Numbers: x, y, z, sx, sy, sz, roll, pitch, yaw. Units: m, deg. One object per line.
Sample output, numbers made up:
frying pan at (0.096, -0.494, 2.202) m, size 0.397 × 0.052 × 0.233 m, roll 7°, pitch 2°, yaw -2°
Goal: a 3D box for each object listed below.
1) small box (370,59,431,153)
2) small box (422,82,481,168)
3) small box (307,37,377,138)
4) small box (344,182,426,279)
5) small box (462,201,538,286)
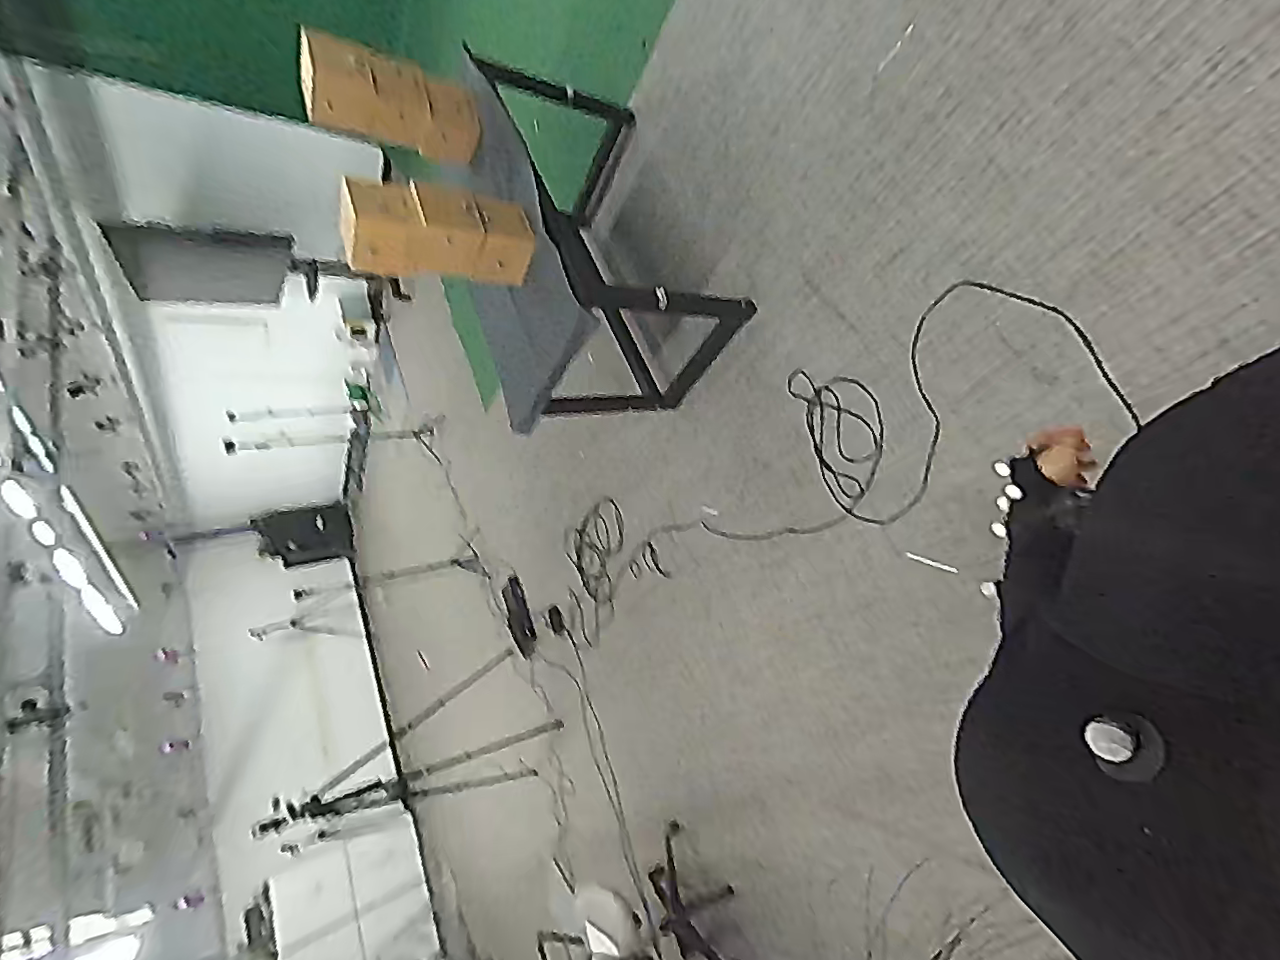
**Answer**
small box at (-0.796, -1.222, 1.780) m, size 0.179 × 0.176 × 0.168 m, roll -28°, pitch 74°, yaw 55°
small box at (-0.663, -1.222, 1.874) m, size 0.179 × 0.176 × 0.168 m, roll -19°, pitch 82°, yaw 56°
small box at (-0.929, -1.210, 1.683) m, size 0.179 × 0.176 × 0.168 m, roll -36°, pitch 68°, yaw 51°
small box at (-0.702, -0.682, 1.494) m, size 0.179 × 0.176 × 0.168 m, roll -49°, pitch 59°, yaw 47°
small box at (-0.432, -0.725, 1.675) m, size 0.179 × 0.176 × 0.168 m, roll -50°, pitch 58°, yaw 48°
